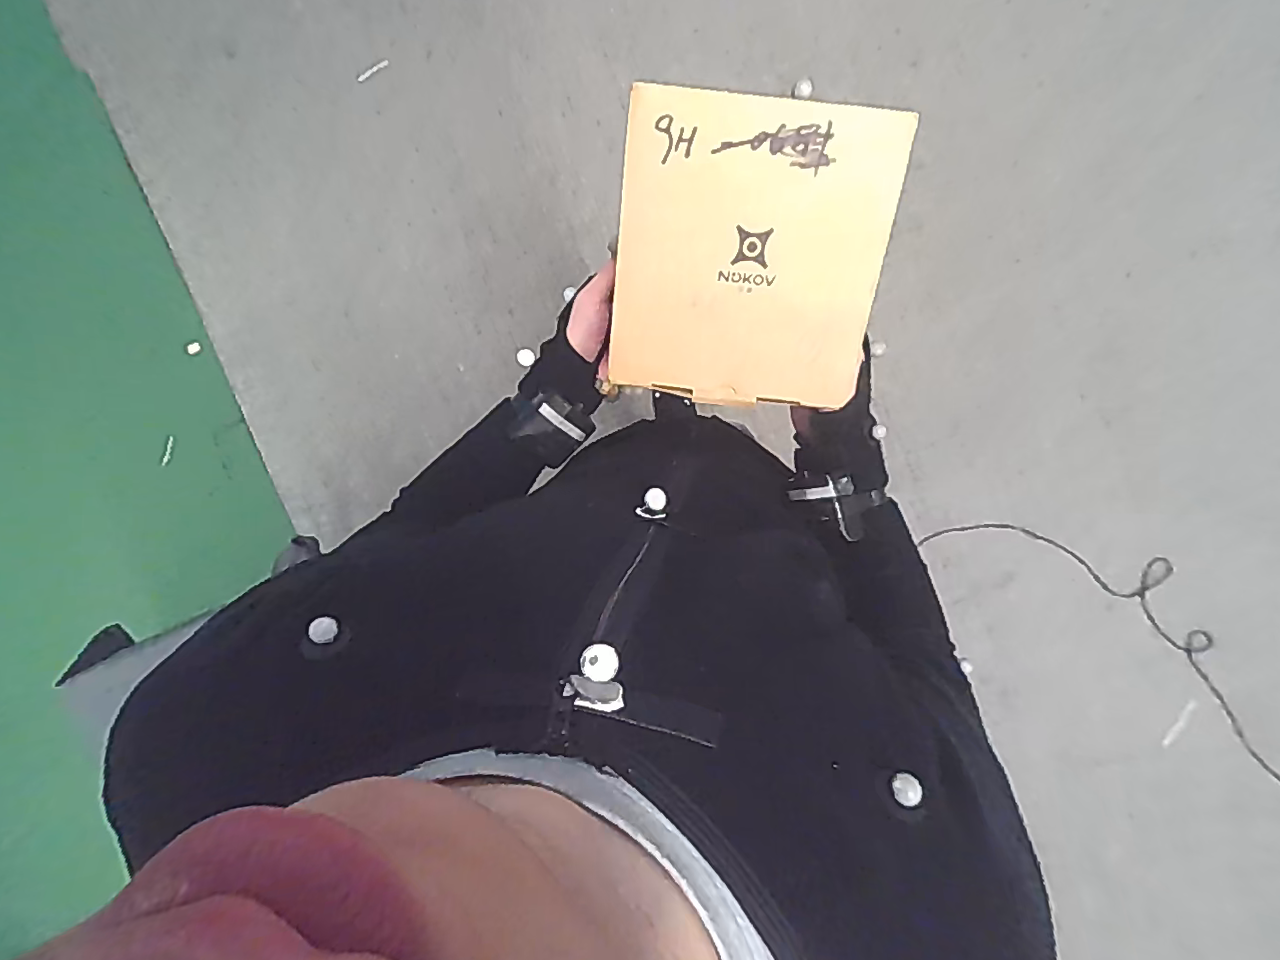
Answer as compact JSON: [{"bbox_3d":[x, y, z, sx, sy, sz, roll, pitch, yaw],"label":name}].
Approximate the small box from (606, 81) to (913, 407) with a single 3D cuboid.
[{"bbox_3d":[0.069,-0.171,0.413,0.168,0.176,0.179,6,114,-1],"label":"small box"}]
